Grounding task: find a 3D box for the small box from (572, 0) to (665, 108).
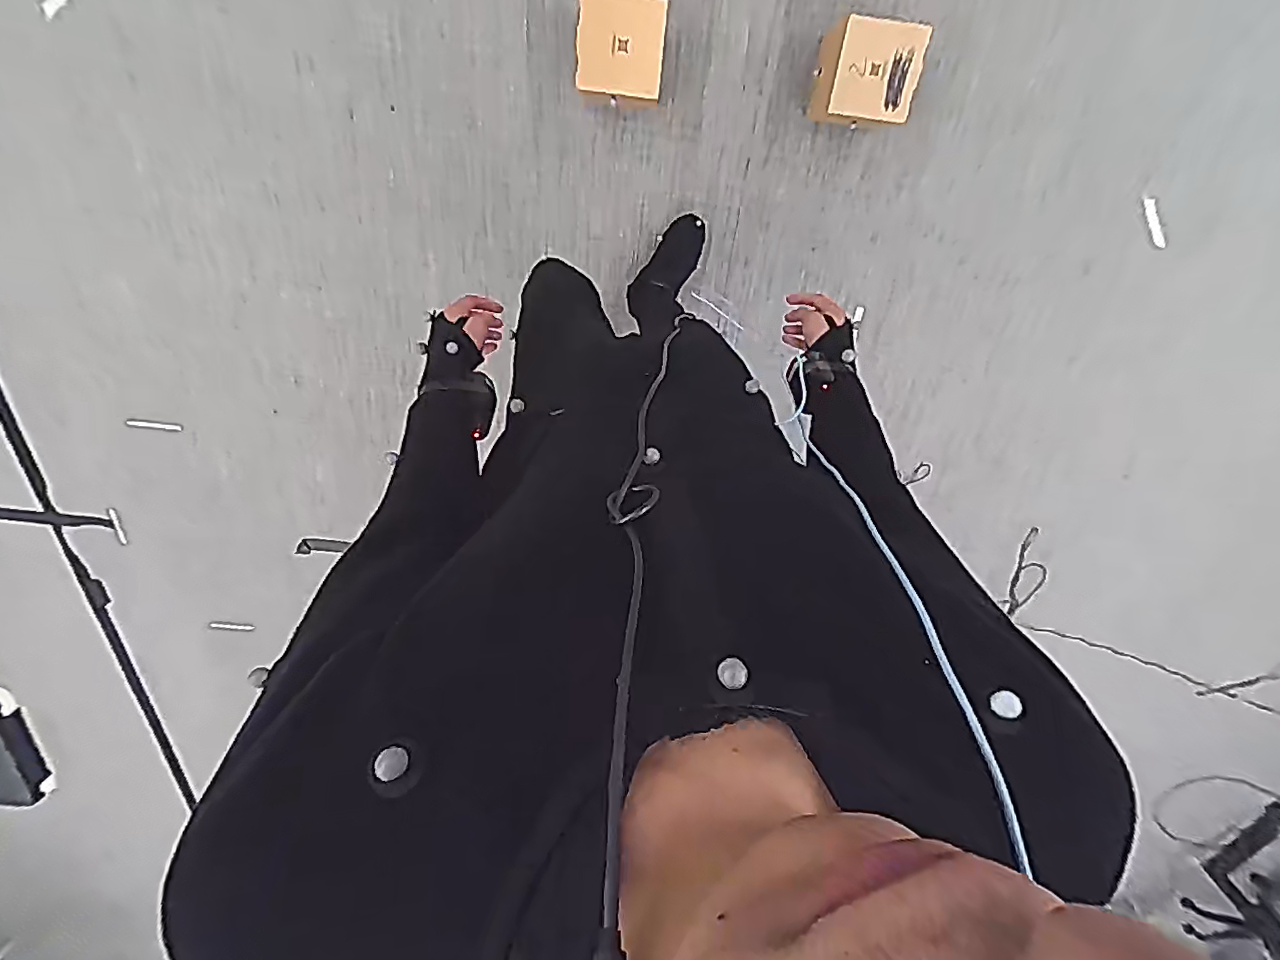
[{"bbox_3d":[-0.047,-0.910,1.155,0.179,0.176,0.168,5,119,-3],"label":"small box"}]
